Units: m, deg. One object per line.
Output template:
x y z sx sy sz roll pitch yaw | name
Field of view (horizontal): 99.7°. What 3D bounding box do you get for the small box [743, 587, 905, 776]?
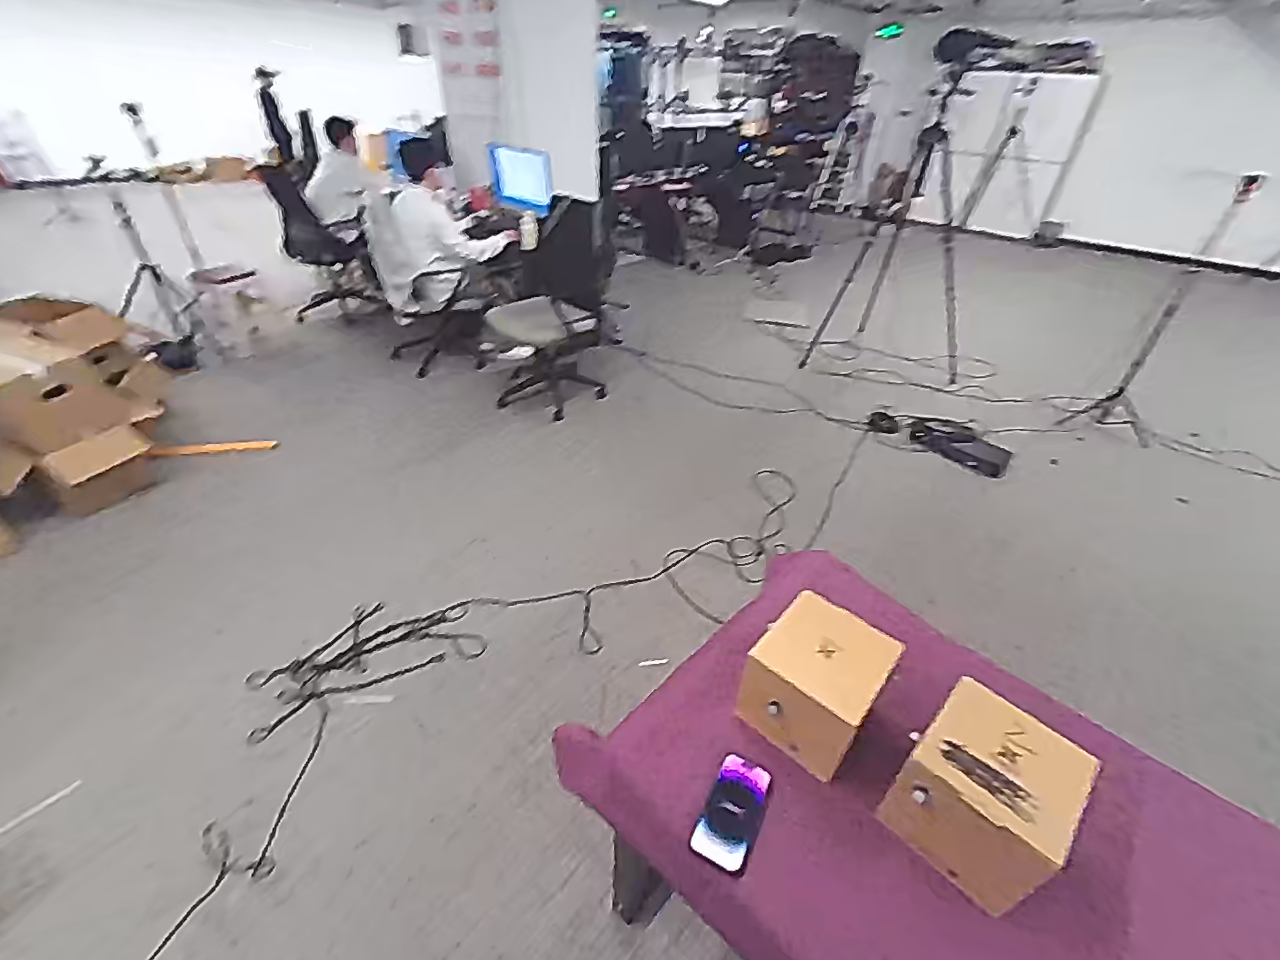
0.274 0.308 0.835 0.168 0.176 0.179 29 43 32 | small box
